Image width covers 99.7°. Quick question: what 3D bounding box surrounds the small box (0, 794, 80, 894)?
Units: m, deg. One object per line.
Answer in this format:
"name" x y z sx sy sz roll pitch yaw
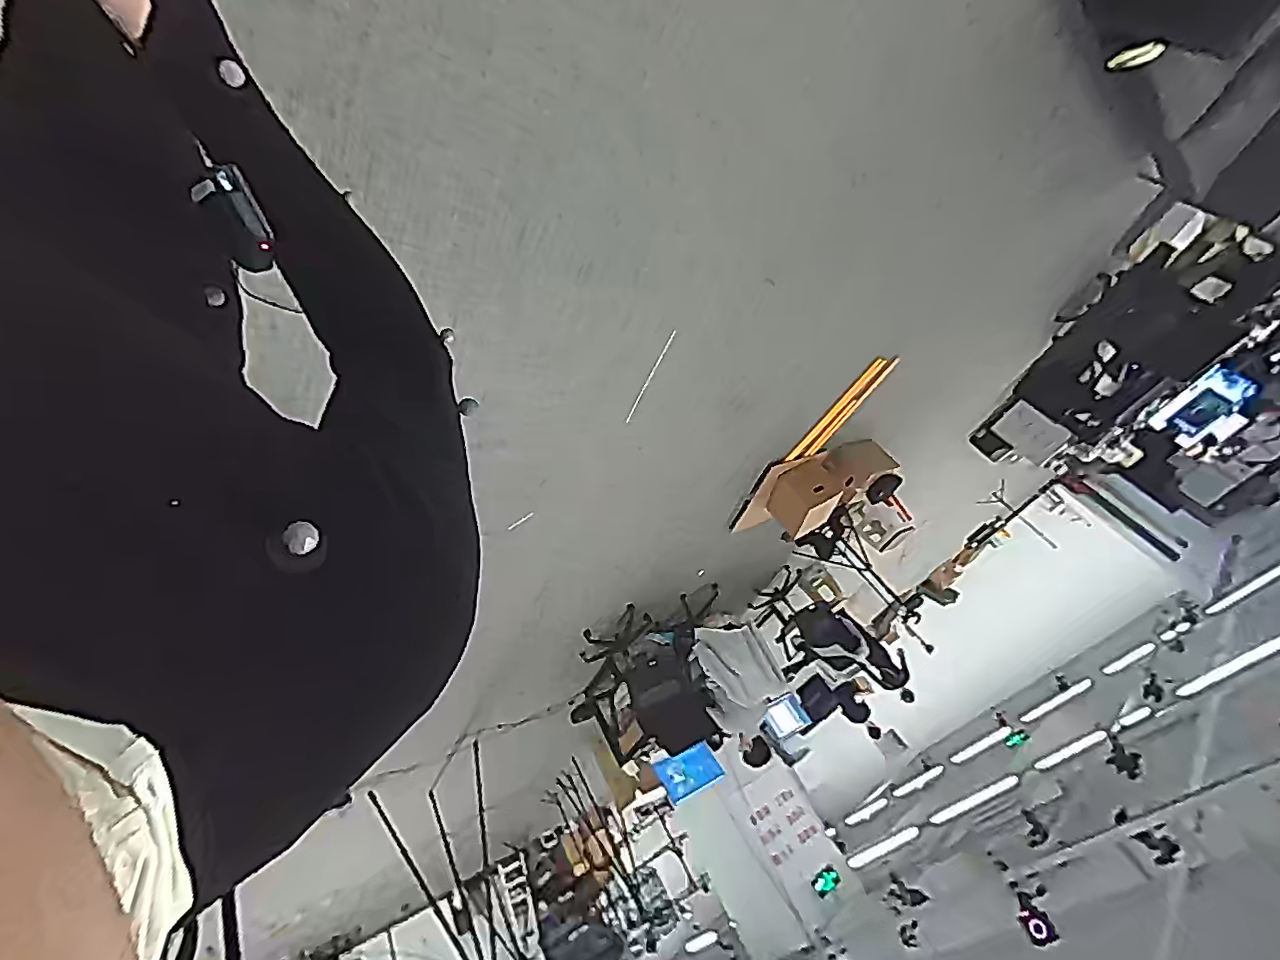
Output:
"small box" -1.306 0.797 1.132 0.168 0.176 0.179 -7 139 -39
